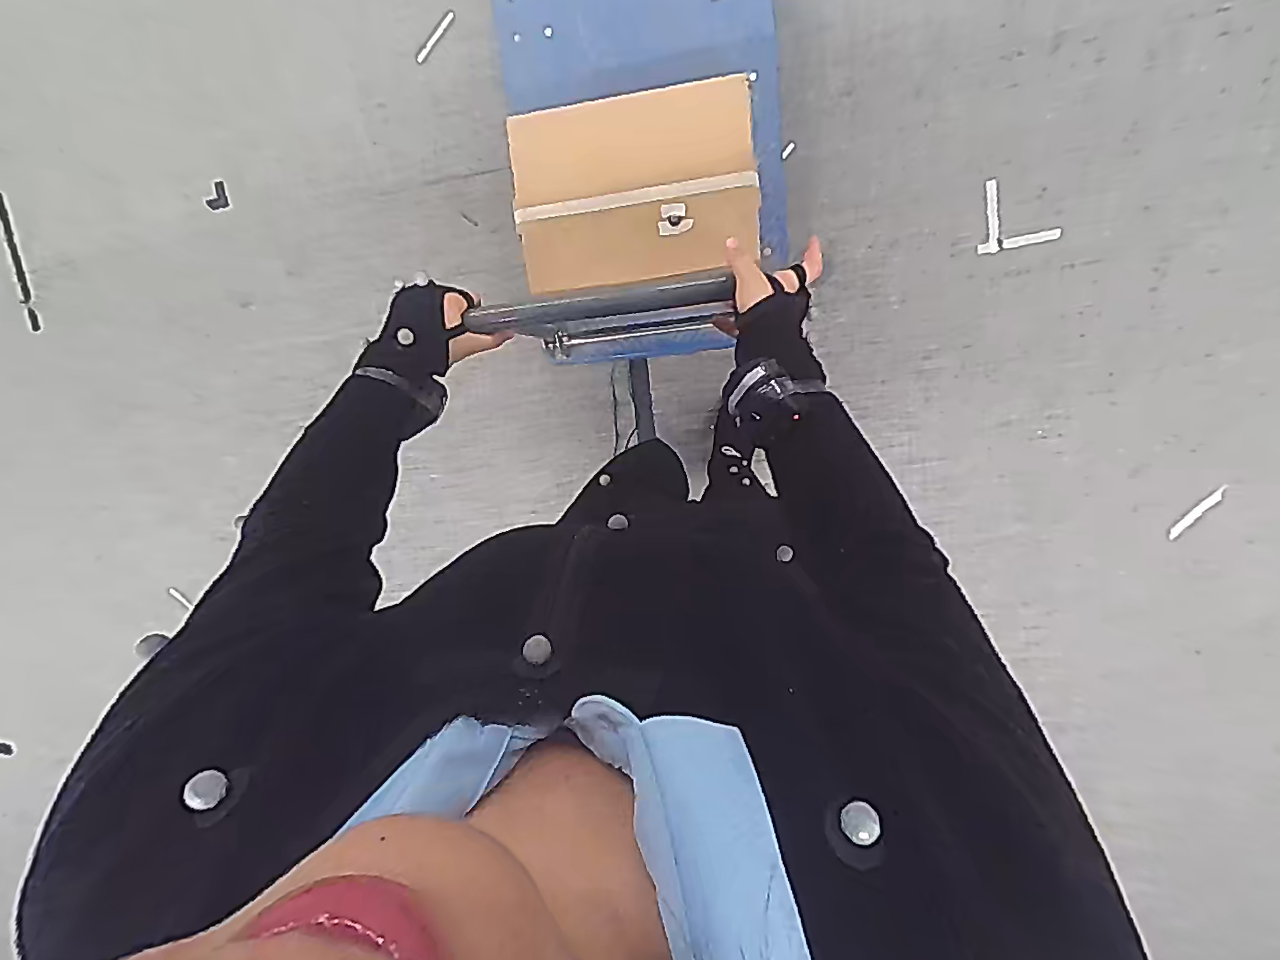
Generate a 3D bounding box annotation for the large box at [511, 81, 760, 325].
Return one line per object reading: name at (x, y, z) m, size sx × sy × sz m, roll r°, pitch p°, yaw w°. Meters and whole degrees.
large box at (0.009, -0.498, 1.060) m, size 0.408 × 0.320 × 0.320 m, roll -5°, pitch 101°, yaw 8°
